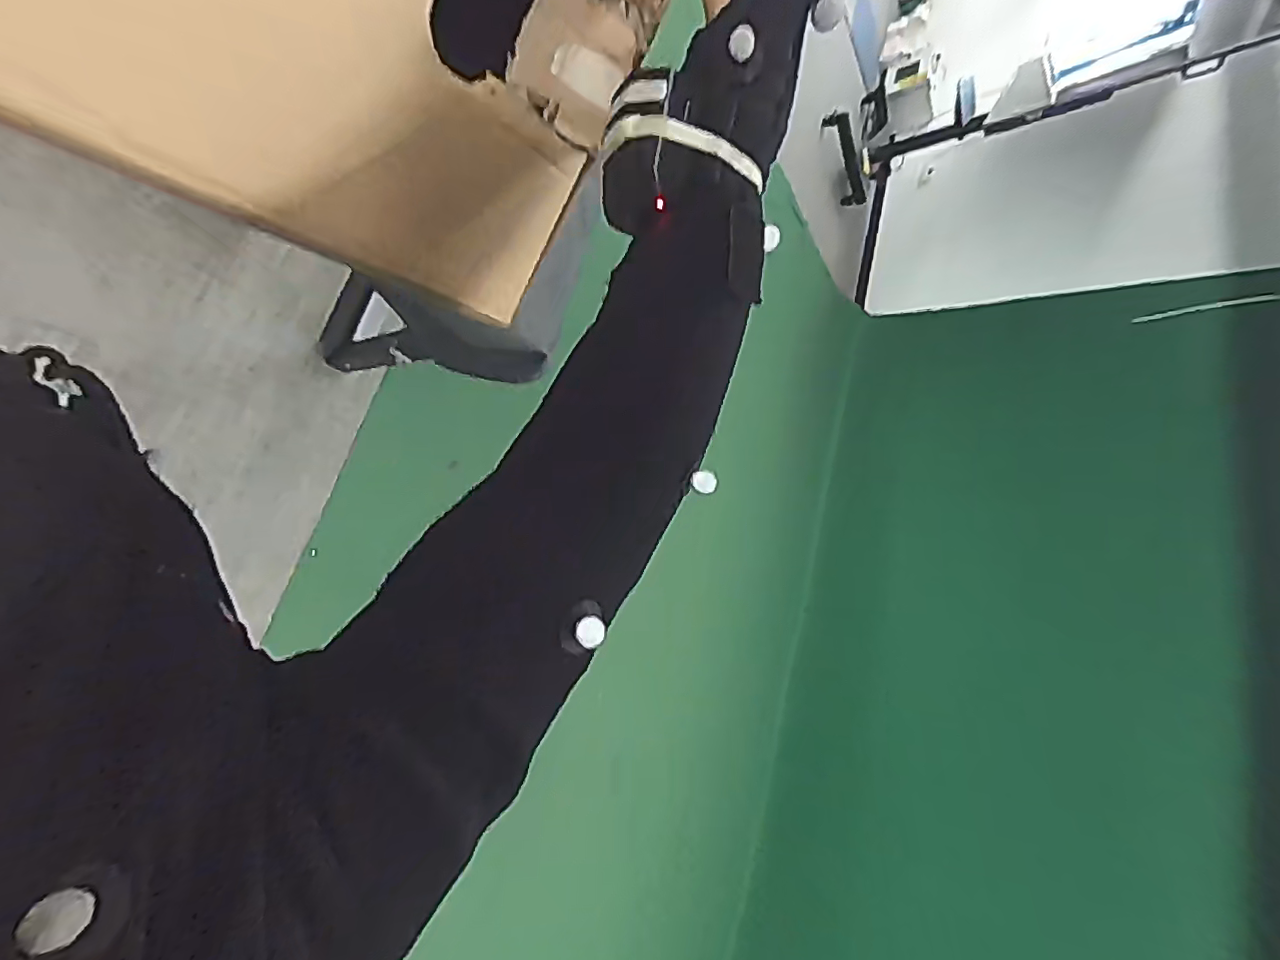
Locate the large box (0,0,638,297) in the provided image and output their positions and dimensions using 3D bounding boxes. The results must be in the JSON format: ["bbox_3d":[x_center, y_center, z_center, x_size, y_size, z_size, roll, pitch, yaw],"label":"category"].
[{"bbox_3d":[-0.235,-0.368,0.308,0.320,0.408,0.320,8,117,-53],"label":"large box"}]
